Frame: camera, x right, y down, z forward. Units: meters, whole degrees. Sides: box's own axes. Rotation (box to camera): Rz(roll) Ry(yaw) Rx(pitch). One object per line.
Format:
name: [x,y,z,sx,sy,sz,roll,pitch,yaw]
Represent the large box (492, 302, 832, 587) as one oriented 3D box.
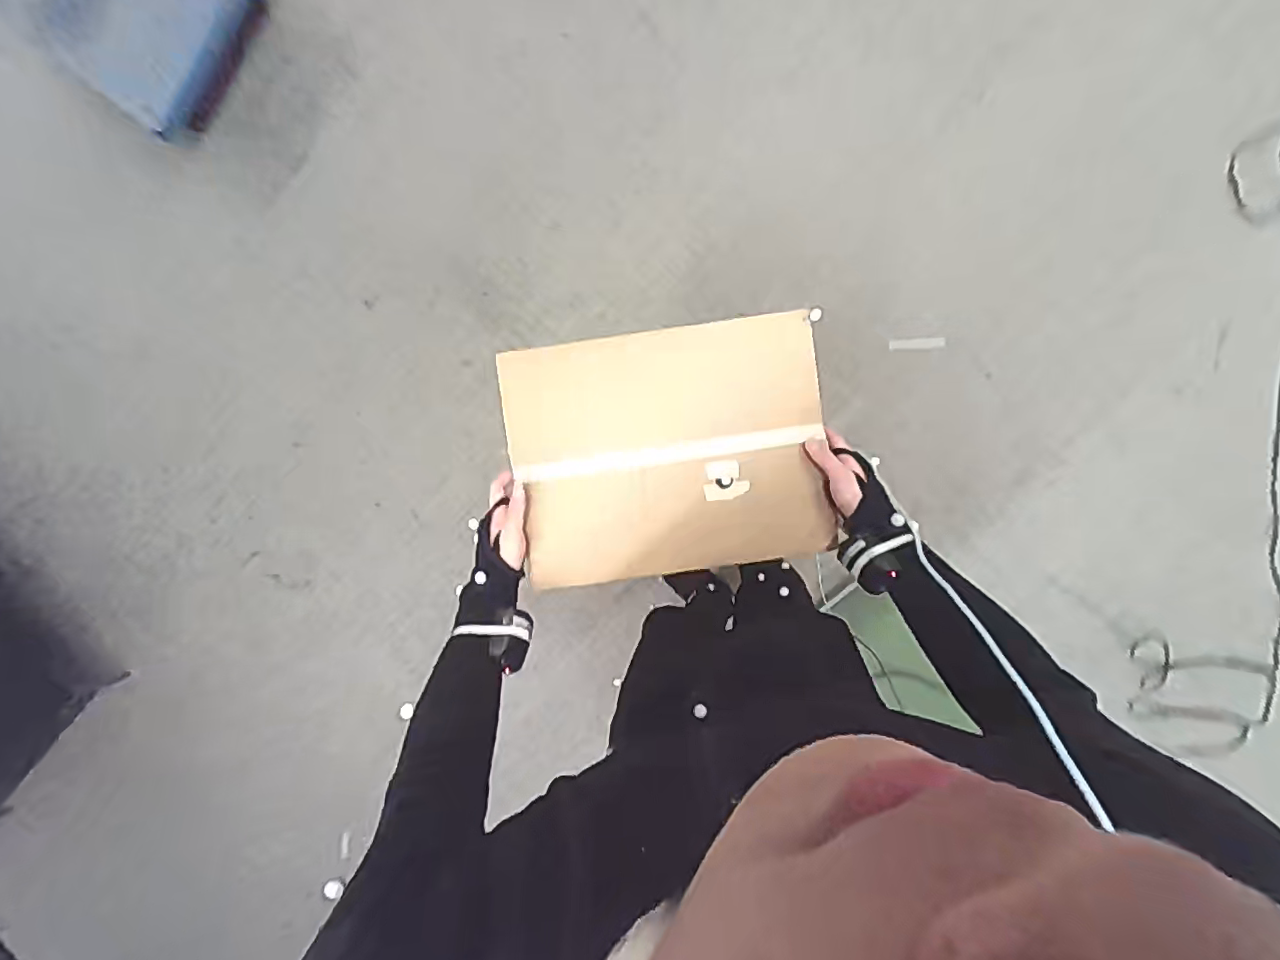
large box: [0.028,-0.047,0.843,0.408,0.320,0.320,-9,92,0]
